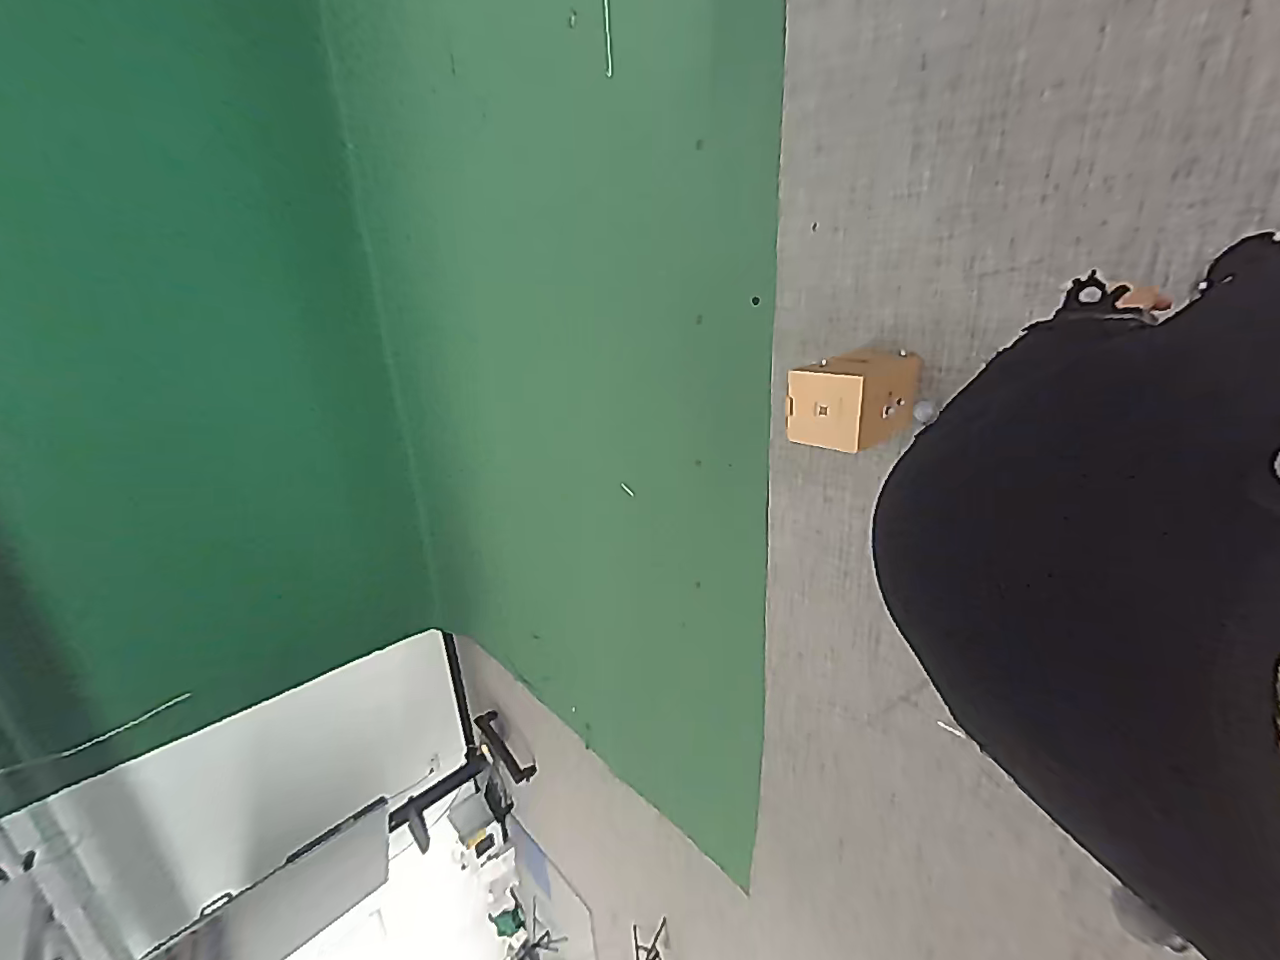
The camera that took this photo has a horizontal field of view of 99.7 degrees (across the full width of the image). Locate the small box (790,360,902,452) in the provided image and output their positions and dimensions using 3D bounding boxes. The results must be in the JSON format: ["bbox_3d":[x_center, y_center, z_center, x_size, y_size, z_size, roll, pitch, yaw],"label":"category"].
[{"bbox_3d":[0.460,-0.174,1.216,0.179,0.176,0.168,16,118,44],"label":"small box"}]

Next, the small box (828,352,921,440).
[{"bbox_3d":[0.569,-0.214,1.330,0.168,0.176,0.179,21,121,44],"label":"small box"}]
